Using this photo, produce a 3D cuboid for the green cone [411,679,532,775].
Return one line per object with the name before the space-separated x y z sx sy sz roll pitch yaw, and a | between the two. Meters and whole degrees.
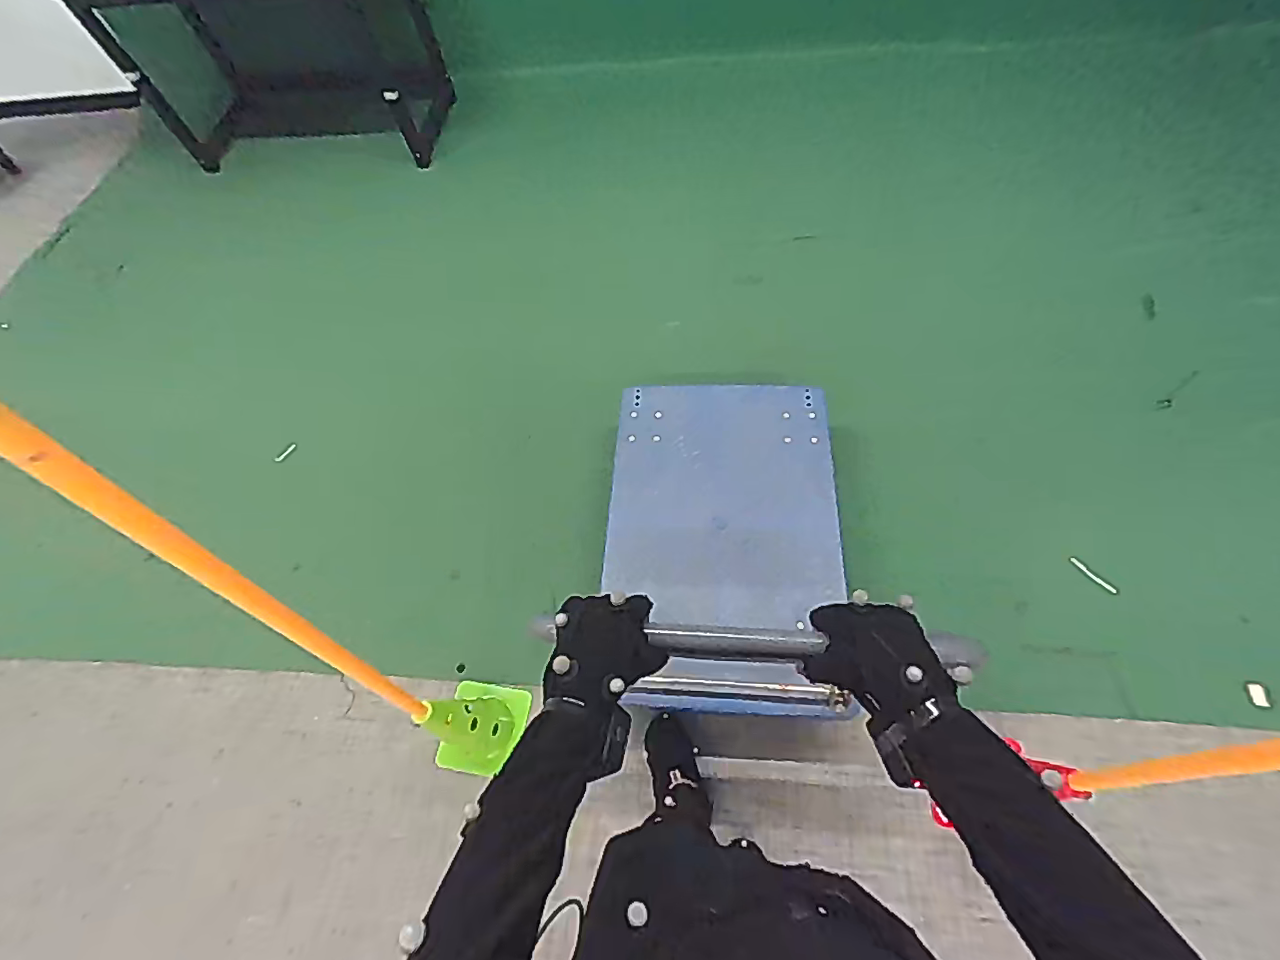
green cone | -0.398 0.524 1.195 0.202 0.368 0.200 5 61 10
